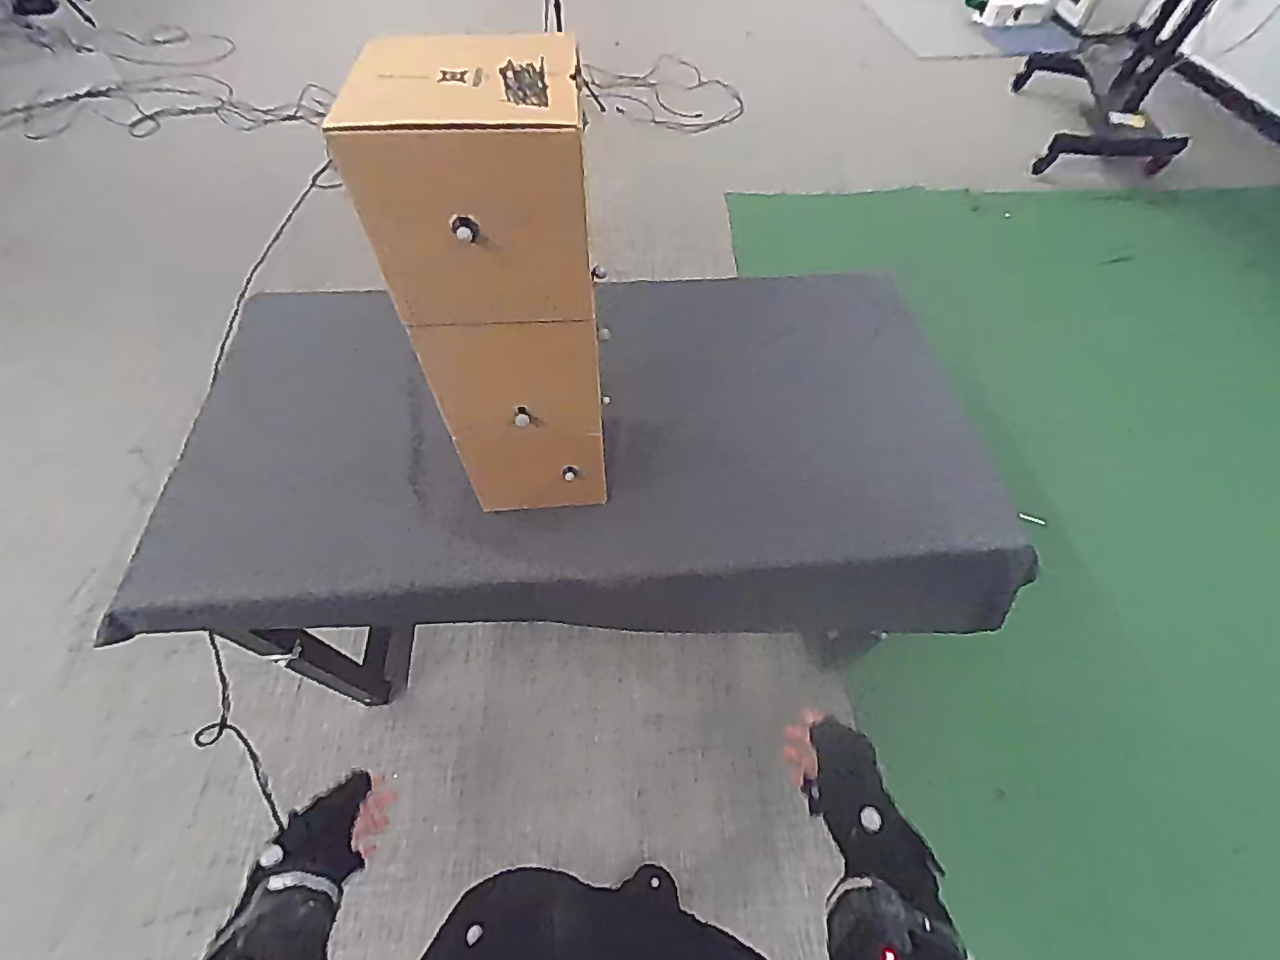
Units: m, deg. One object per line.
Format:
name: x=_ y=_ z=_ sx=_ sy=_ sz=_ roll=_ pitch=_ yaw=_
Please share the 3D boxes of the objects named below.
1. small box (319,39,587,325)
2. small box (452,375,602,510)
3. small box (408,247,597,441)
small box: x=-0.138 y=-0.256 z=0.479 sx=0.179 sy=0.176 sz=0.168 roll=-3 pitch=56 yaw=-3
small box: x=-0.144 y=-0.072 z=0.751 sx=0.179 sy=0.176 sz=0.168 roll=-5 pitch=56 yaw=-3
small box: x=-0.141 y=-0.162 z=0.617 sx=0.179 sy=0.176 sz=0.168 roll=-6 pitch=58 yaw=-5
